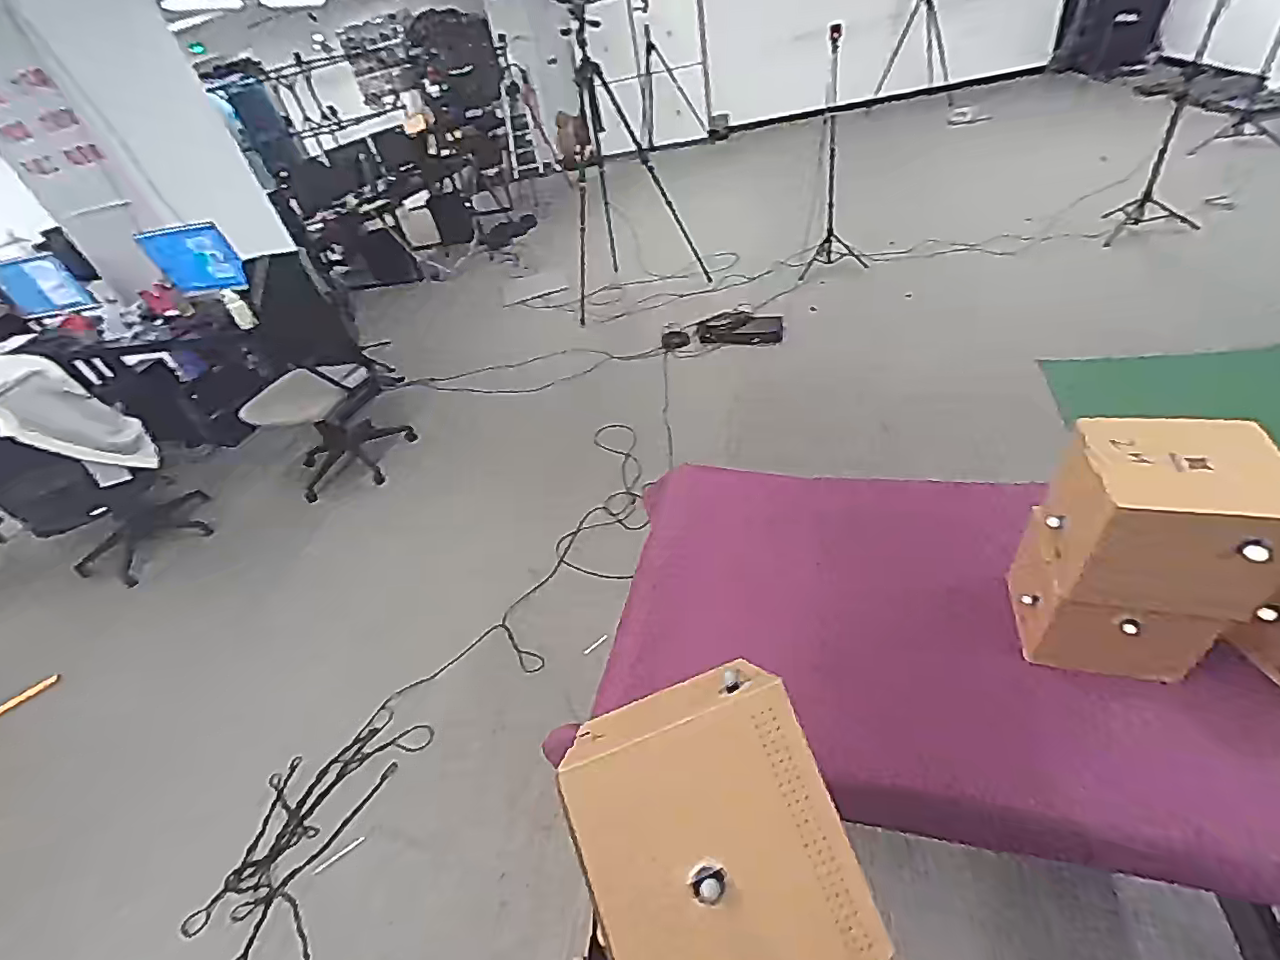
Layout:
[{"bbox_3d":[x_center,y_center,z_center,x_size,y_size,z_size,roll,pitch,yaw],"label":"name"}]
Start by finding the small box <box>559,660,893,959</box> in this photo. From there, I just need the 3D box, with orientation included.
[{"bbox_3d":[0.052,0.254,0.415,0.176,0.168,0.179,-20,77,-5],"label":"small box"}]

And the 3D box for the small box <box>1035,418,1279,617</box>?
[{"bbox_3d":[0.617,0.044,0.654,0.179,0.176,0.168,5,43,21],"label":"small box"}]

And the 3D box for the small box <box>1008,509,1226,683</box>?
[{"bbox_3d":[0.645,0.162,0.766,0.179,0.176,0.168,4,43,20],"label":"small box"}]
